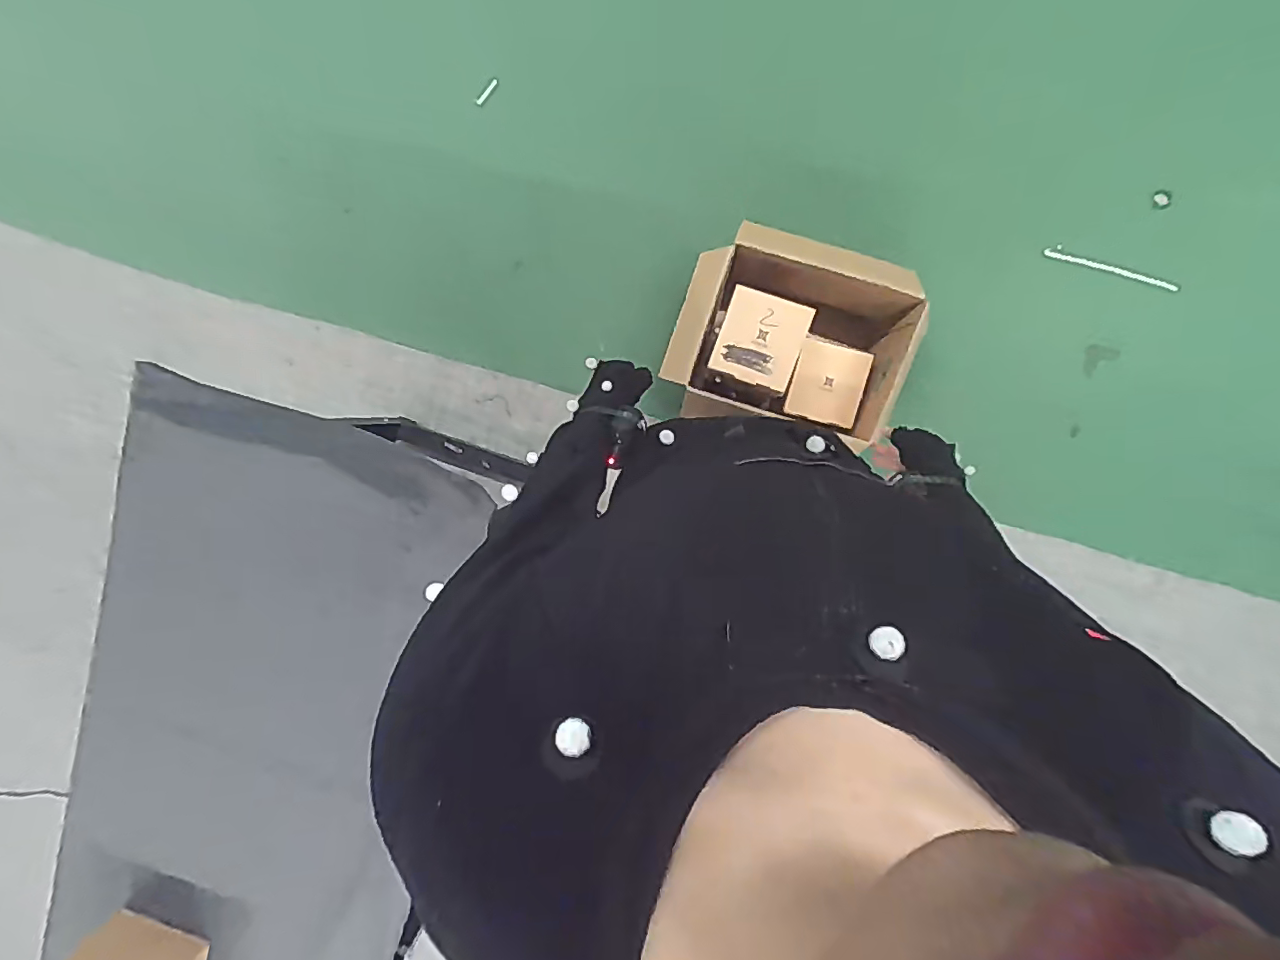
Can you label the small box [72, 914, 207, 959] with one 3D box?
[{"bbox_3d":[-0.861,0.867,0.882,0.179,0.176,0.168,17,98,5],"label":"small box"}]
